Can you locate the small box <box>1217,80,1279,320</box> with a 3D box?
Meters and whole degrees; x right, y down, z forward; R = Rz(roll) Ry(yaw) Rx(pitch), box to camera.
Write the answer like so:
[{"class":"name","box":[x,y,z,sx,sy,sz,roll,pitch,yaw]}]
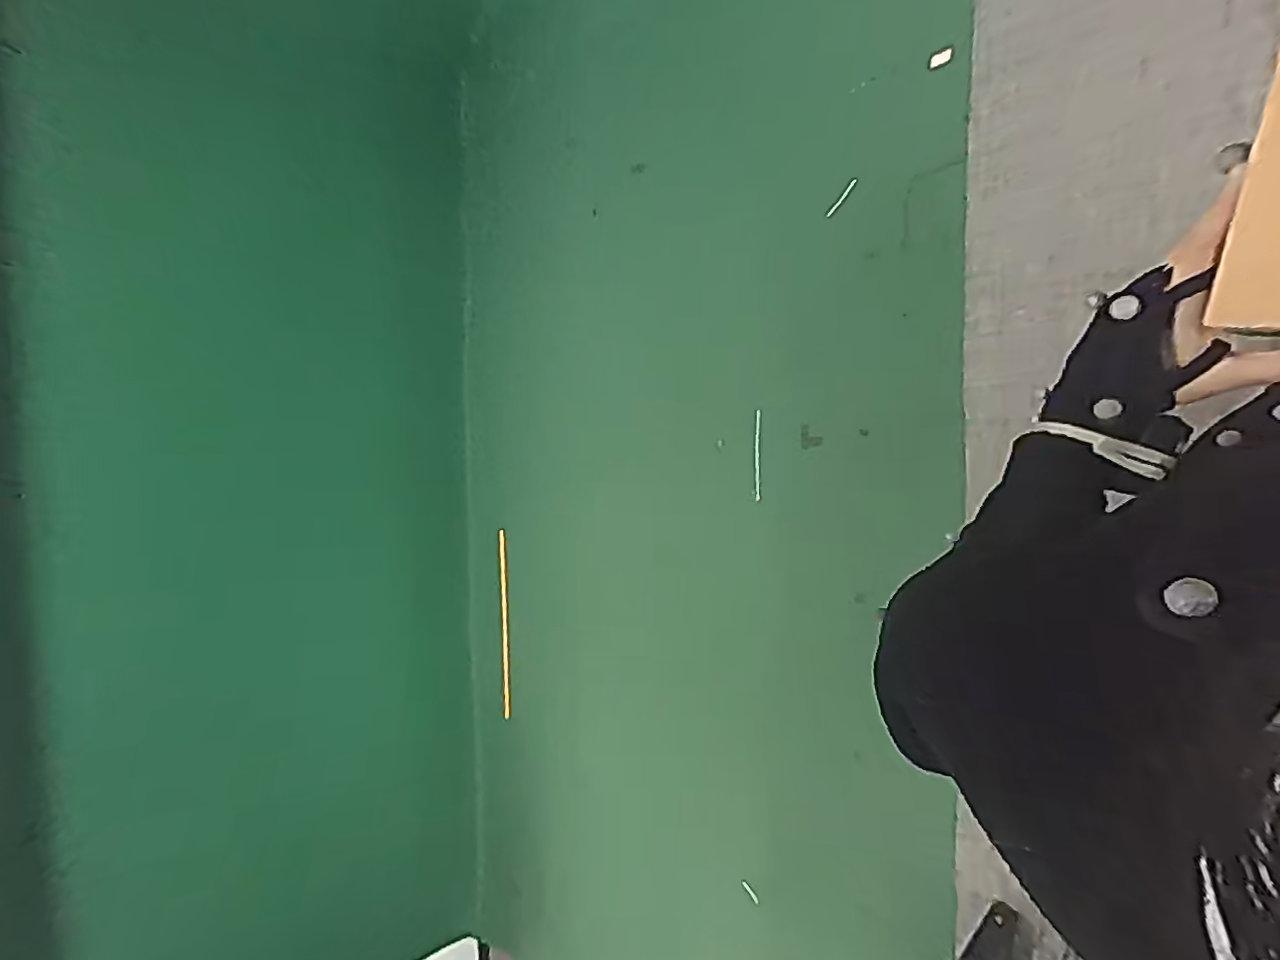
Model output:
[{"class":"small box","box":[0.439,-0.170,0.266,0.168,0.176,0.179,19,112,51]}]
